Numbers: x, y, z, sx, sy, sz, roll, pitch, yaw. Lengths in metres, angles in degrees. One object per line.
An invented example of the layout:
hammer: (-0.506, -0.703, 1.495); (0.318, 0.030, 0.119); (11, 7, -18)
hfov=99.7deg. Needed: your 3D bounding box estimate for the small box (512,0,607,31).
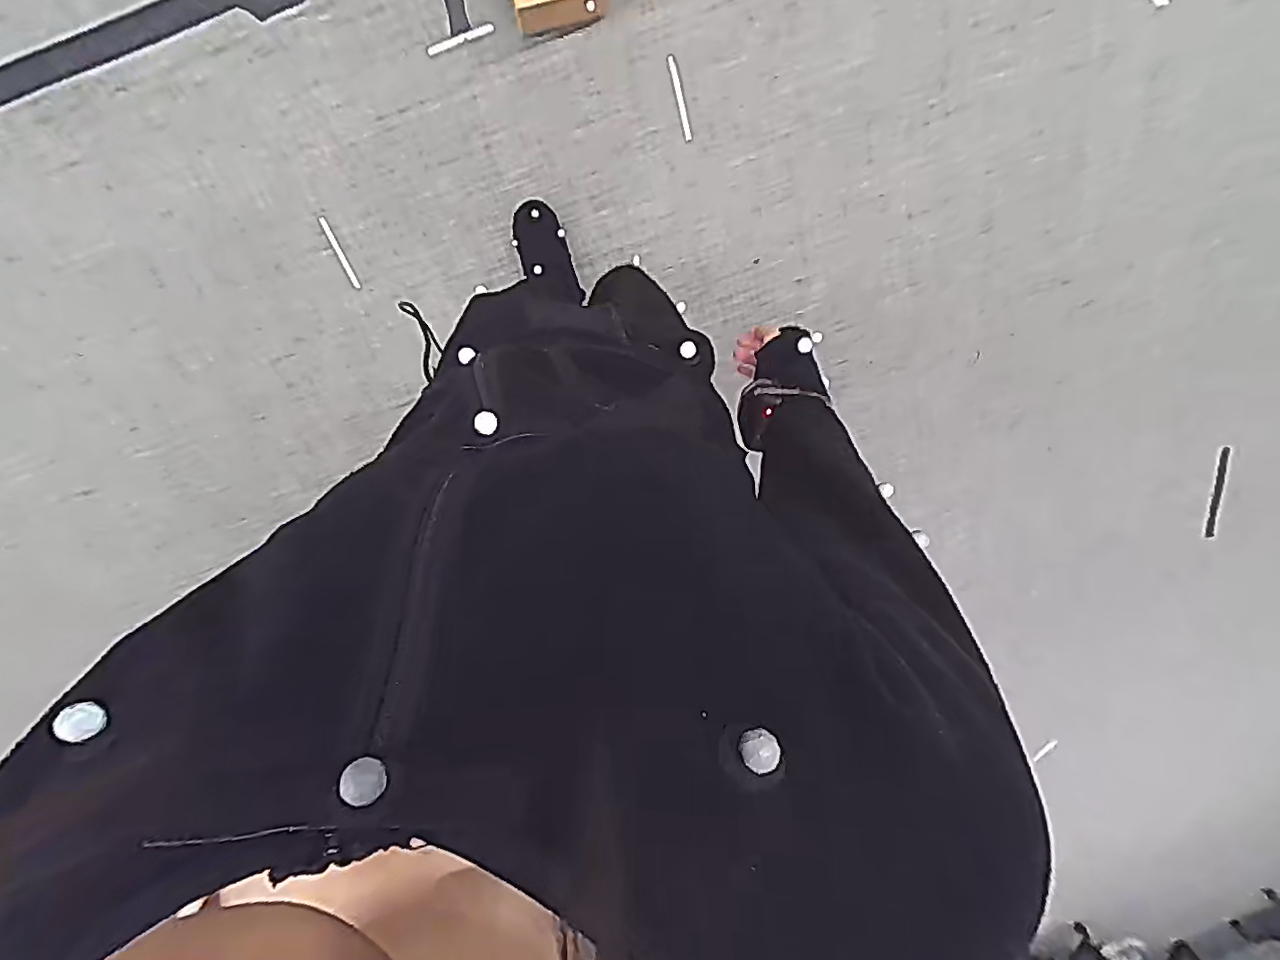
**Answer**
small box: (-0.151, -0.918, 0.936); (0.179, 0.176, 0.168); (-15, 118, -1)
